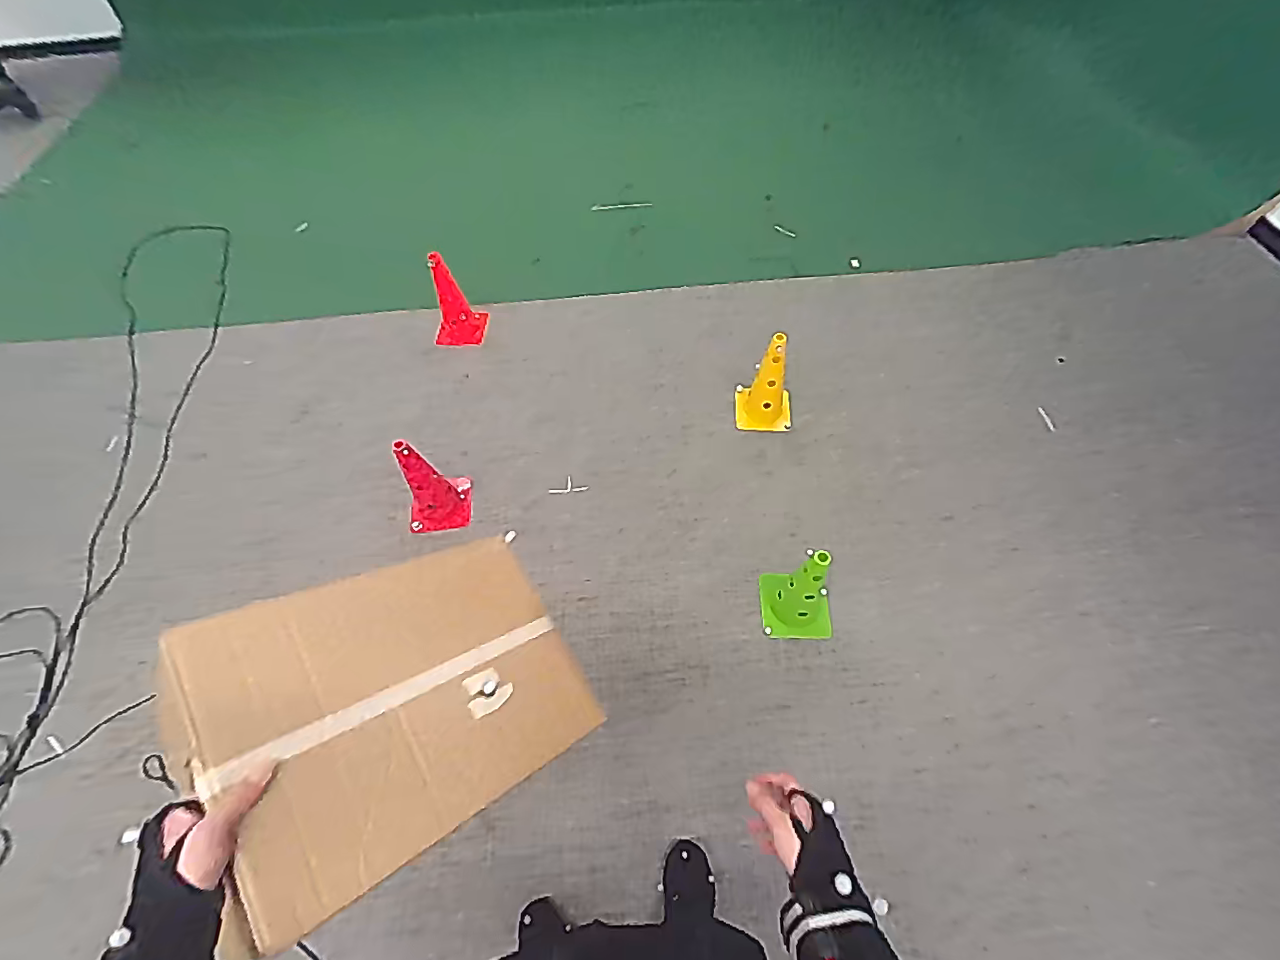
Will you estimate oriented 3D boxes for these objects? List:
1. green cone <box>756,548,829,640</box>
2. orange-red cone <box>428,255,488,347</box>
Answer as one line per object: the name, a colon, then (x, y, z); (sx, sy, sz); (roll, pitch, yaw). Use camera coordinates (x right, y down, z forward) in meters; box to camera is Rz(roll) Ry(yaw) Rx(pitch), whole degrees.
green cone: (0.453, 0.287, 1.479); (0.200, 0.368, 0.202); (0, 56, 2)
orange-red cone: (-0.766, -0.728, 2.152); (0.199, 0.360, 0.198); (1, 57, 4)
